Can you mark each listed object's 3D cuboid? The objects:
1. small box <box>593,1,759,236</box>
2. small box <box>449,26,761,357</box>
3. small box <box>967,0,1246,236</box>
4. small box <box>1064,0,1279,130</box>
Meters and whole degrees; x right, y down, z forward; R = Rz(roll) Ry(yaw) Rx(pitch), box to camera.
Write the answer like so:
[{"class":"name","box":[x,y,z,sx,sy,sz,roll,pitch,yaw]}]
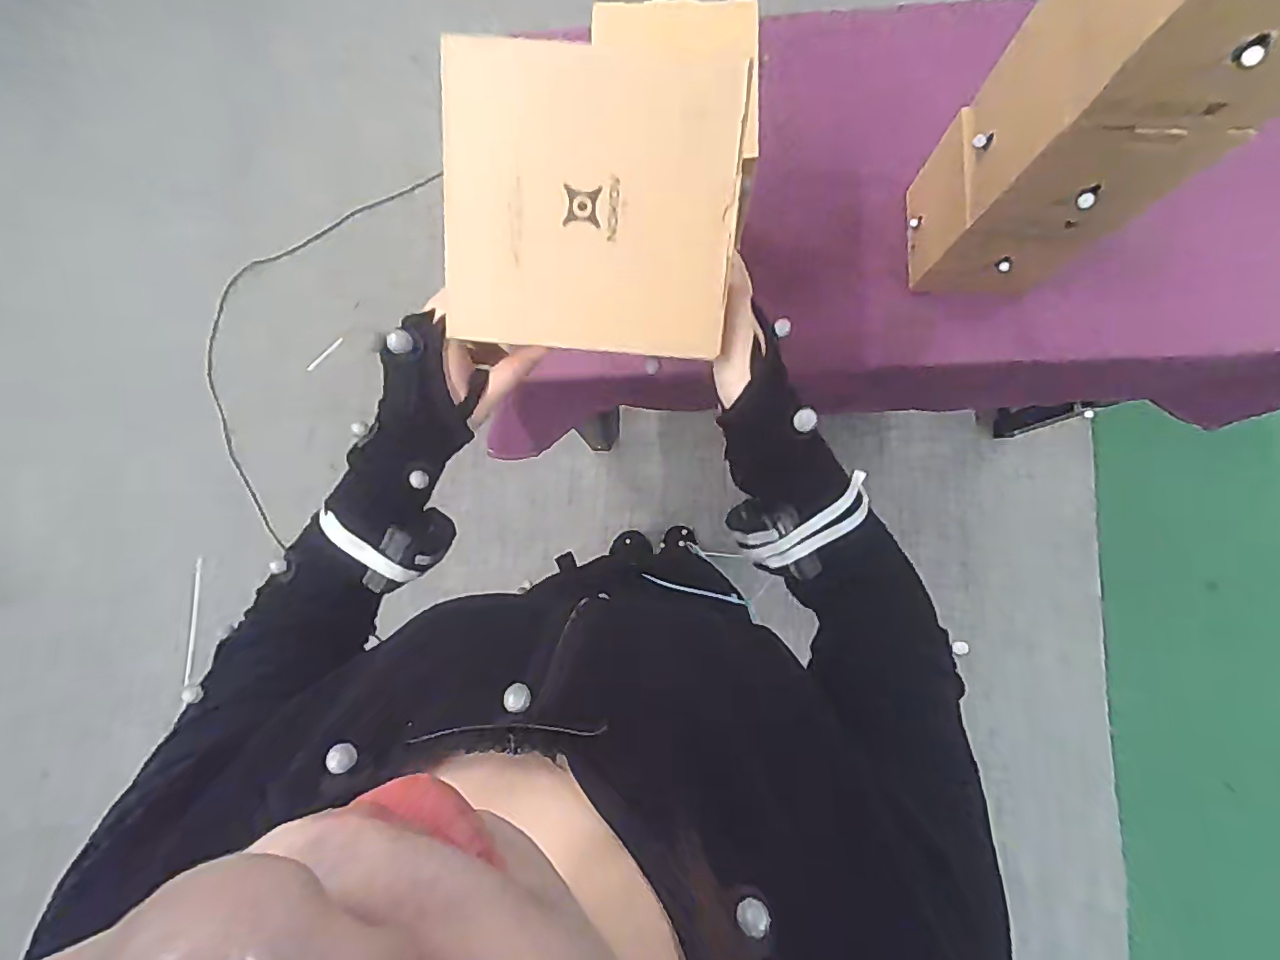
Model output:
[{"class":"small box","box":[0.037,-0.376,0.604,0.168,0.176,0.179,1,82,3]},{"class":"small box","box":[-0.022,-0.185,0.396,0.179,0.176,0.168,6,104,2]},{"class":"small box","box":[0.480,-0.388,0.582,0.168,0.176,0.179,5,84,3]},{"class":"small box","box":[0.470,-0.407,0.418,0.168,0.176,0.179,3,83,4]}]
